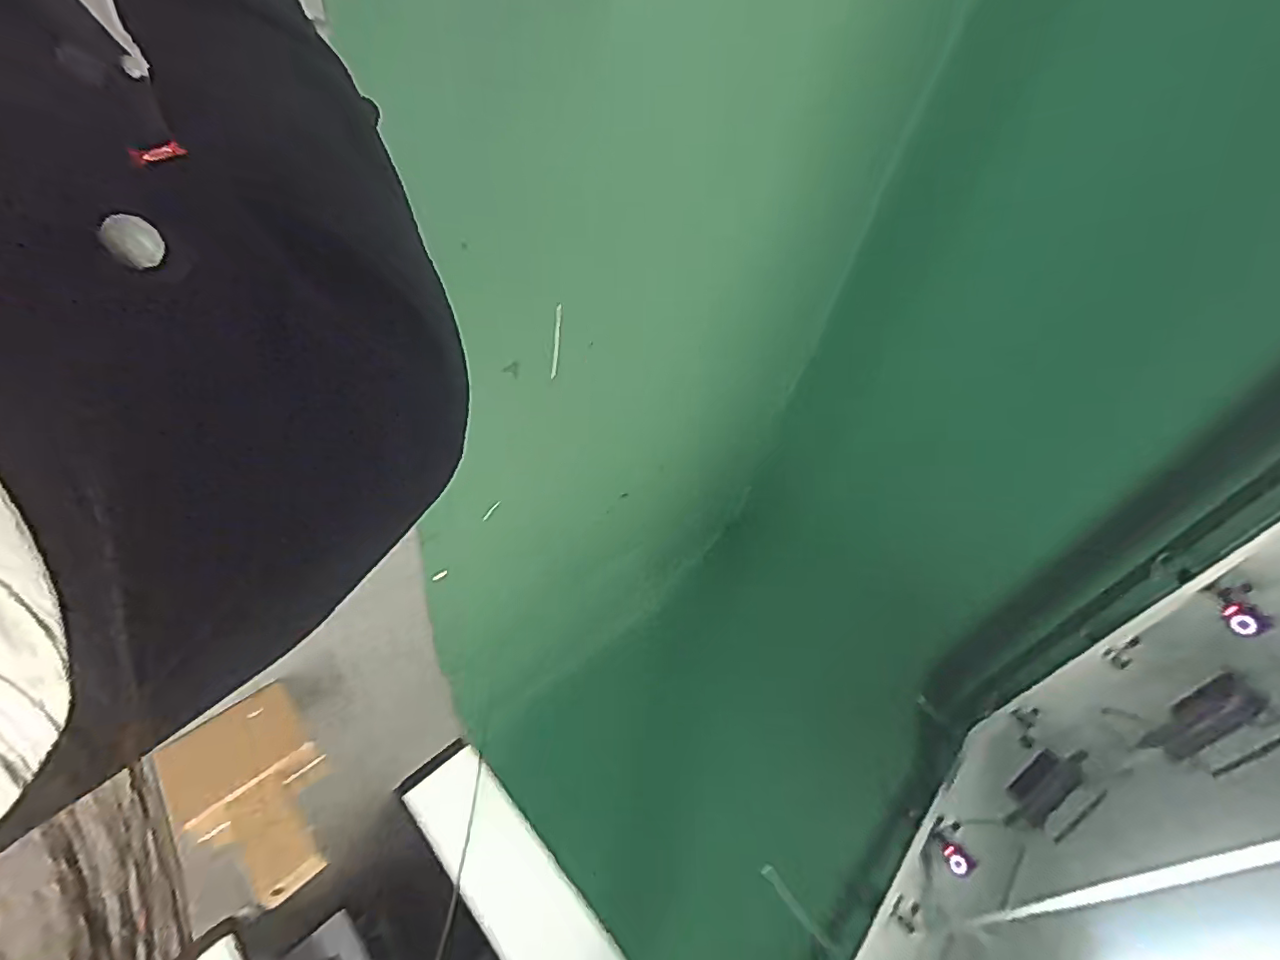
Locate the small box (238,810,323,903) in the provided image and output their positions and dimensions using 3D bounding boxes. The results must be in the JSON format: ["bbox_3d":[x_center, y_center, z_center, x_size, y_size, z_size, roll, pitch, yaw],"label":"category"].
[{"bbox_3d":[-1.198,1.249,1.798,0.179,0.176,0.168,-32,149,-32],"label":"small box"}]

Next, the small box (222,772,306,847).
[{"bbox_3d":[-1.307,1.155,1.878,0.168,0.176,0.179,-32,148,-33],"label":"small box"}]
